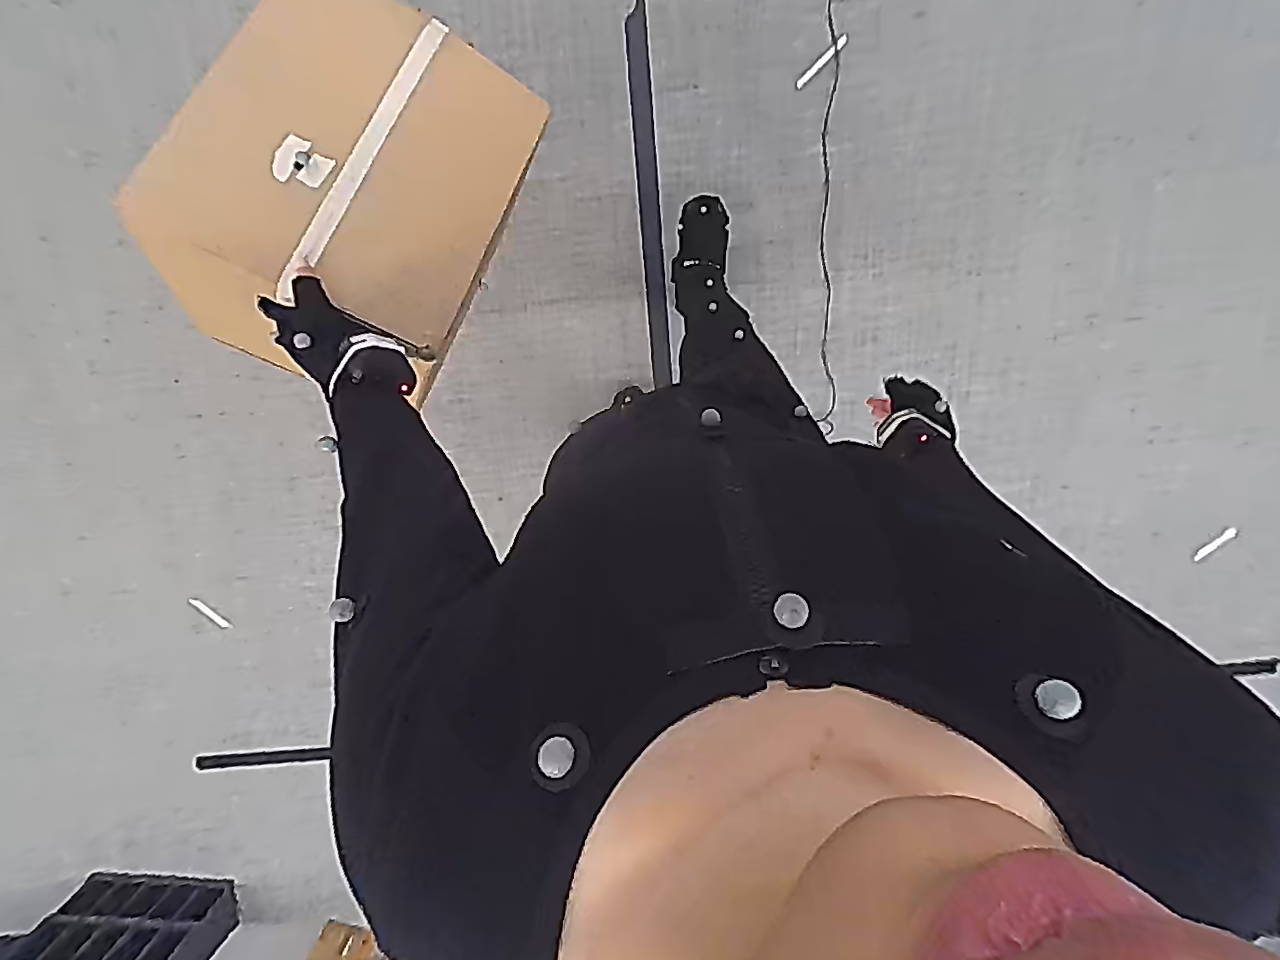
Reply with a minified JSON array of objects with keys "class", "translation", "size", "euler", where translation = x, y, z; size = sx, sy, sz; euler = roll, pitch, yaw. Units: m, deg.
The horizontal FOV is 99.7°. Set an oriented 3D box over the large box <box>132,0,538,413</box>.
[{"class":"large box","translation":[-0.389,-0.365,0.776],"size":[0.320,0.320,0.408],"euler":[24,73,-21]}]
